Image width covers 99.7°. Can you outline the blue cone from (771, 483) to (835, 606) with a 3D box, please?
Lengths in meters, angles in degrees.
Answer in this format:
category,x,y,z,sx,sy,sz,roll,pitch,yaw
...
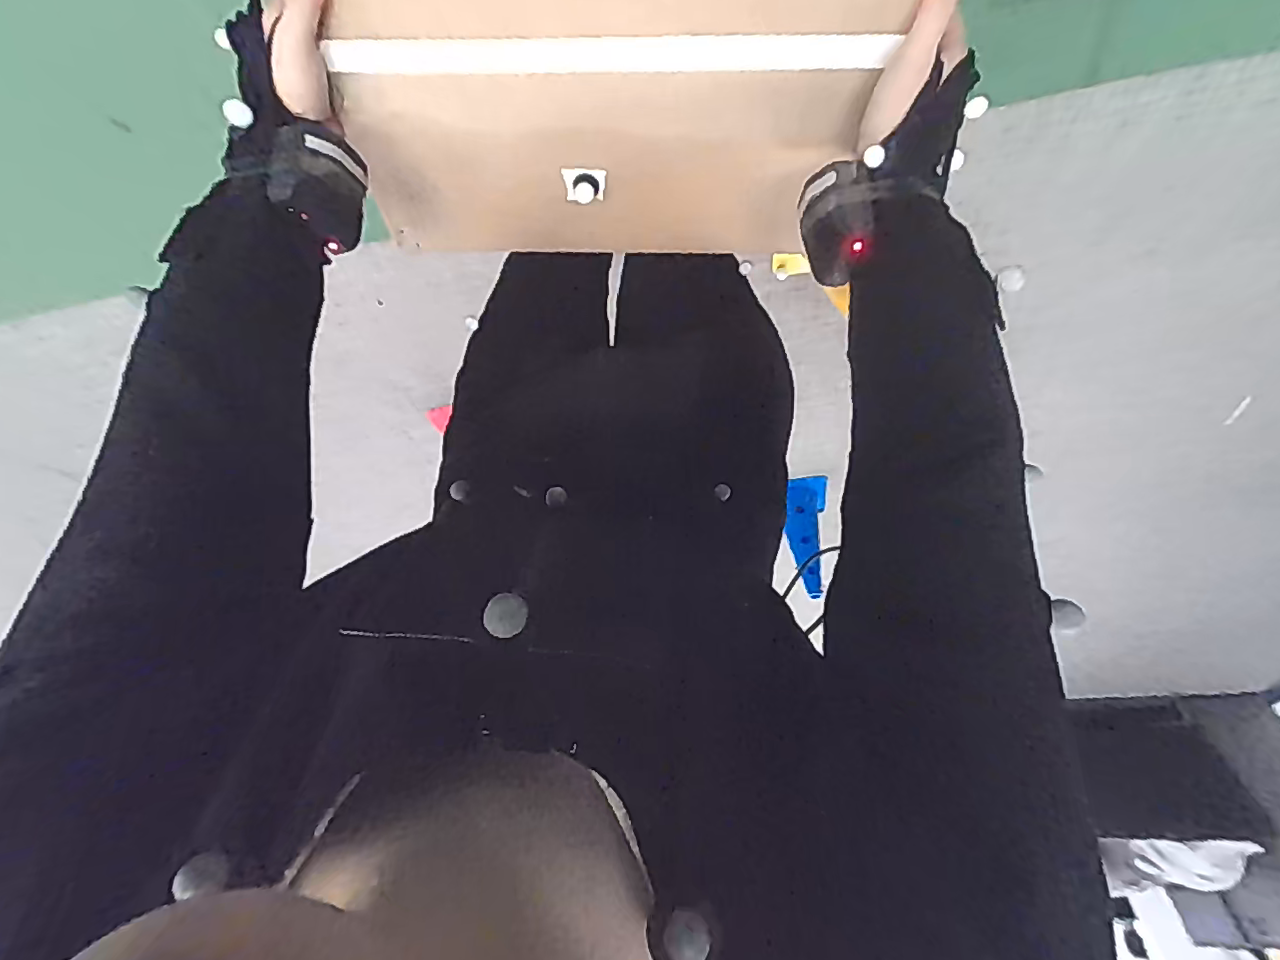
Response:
category,x,y,z,sx,sy,sz,roll,pitch,yaw
blue cone,0.516,0.203,1.625,0.192,0.380,0.193,-7,139,9
